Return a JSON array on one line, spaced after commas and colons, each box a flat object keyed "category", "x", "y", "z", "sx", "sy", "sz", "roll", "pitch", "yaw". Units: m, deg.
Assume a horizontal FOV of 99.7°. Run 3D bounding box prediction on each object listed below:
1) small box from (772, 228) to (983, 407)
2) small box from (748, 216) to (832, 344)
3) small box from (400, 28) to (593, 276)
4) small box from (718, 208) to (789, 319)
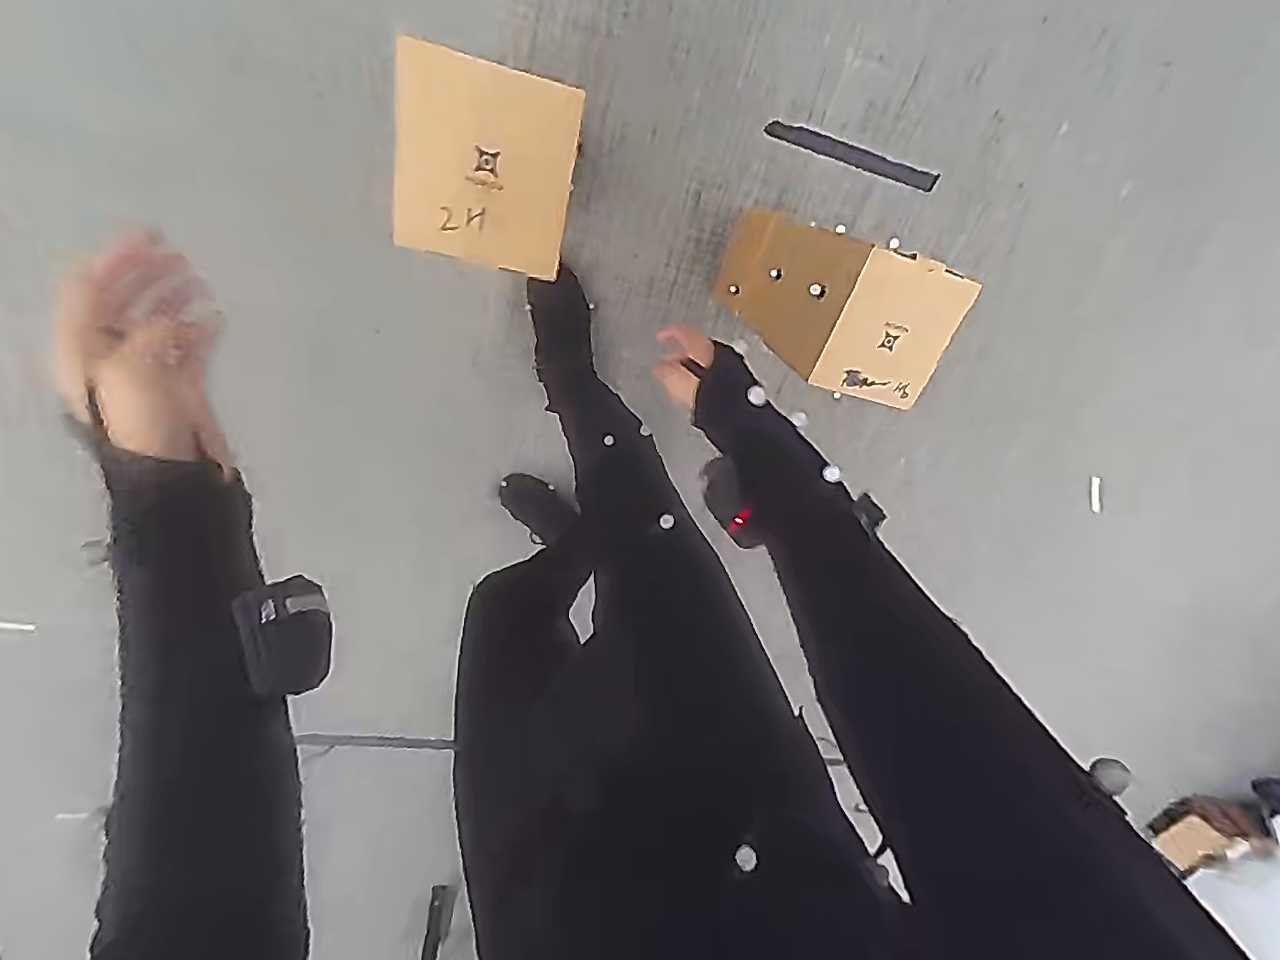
[{"category": "small box", "x": 0.304, "y": -0.227, "z": 0.739, "sx": 0.168, "sy": 0.176, "sz": 0.179, "roll": 12, "pitch": 118, "yaw": -16}, {"category": "small box", "x": 0.294, "y": -0.309, "z": 0.882, "sx": 0.168, "sy": 0.176, "sz": 0.179, "roll": 11, "pitch": 119, "yaw": -16}, {"category": "small box", "x": -0.153, "y": -0.346, "z": 0.592, "sx": 0.168, "sy": 0.176, "sz": 0.179, "roll": 9, "pitch": 120, "yaw": -13}, {"category": "small box", "x": 0.264, "y": -0.394, "z": 1.019, "sx": 0.168, "sy": 0.176, "sz": 0.179, "roll": 12, "pitch": 119, "yaw": -16}]
